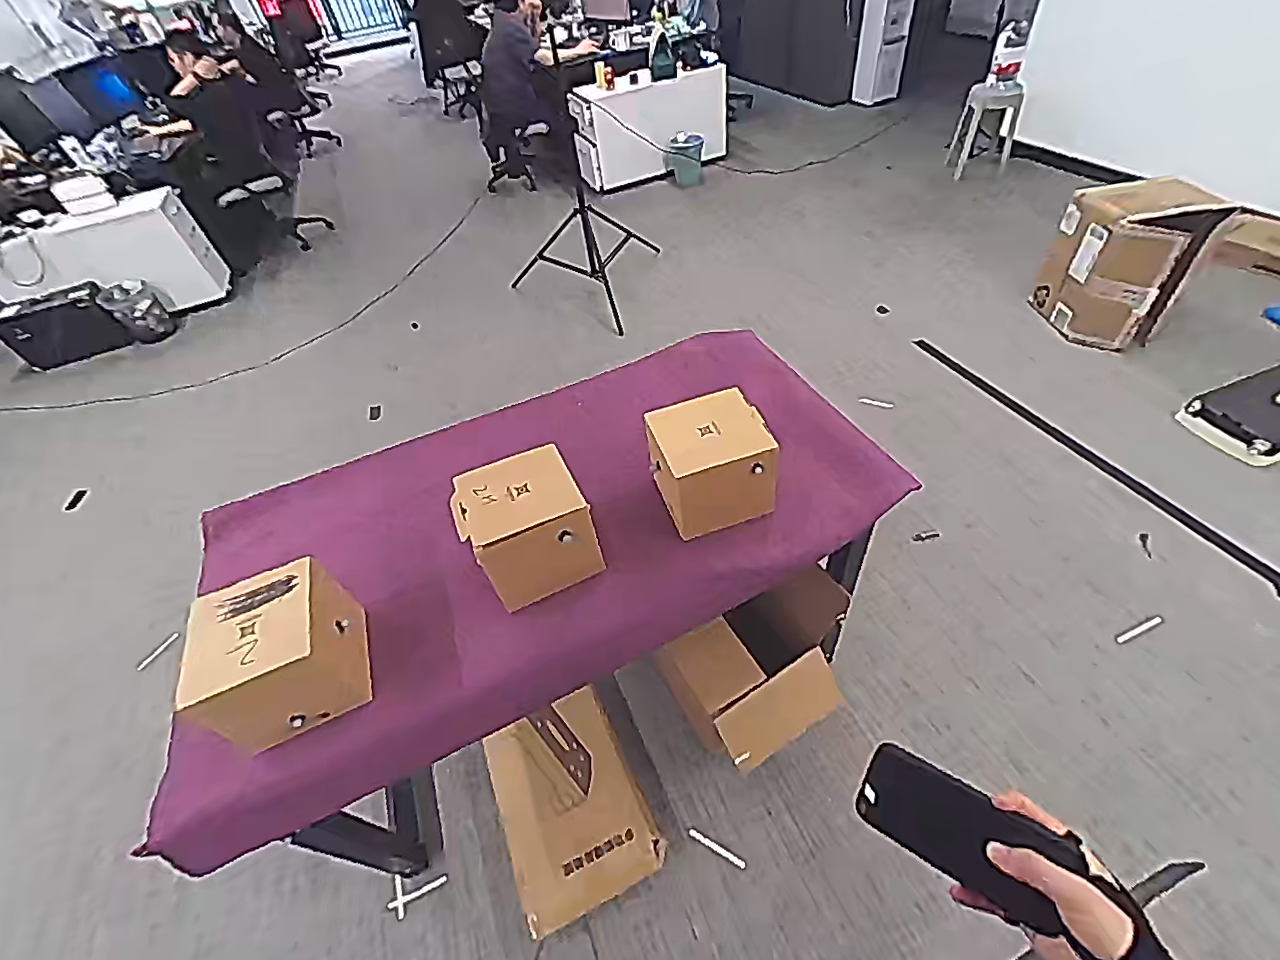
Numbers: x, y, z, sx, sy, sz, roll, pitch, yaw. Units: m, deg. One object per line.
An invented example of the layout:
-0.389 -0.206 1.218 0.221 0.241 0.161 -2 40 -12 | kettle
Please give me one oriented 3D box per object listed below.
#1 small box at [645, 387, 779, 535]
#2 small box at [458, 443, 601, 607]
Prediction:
0.123 -0.029 0.937 0.179 0.176 0.168 -17 48 -7 | small box
-0.174 0.075 0.888 0.179 0.176 0.168 -23 46 -12 | small box
